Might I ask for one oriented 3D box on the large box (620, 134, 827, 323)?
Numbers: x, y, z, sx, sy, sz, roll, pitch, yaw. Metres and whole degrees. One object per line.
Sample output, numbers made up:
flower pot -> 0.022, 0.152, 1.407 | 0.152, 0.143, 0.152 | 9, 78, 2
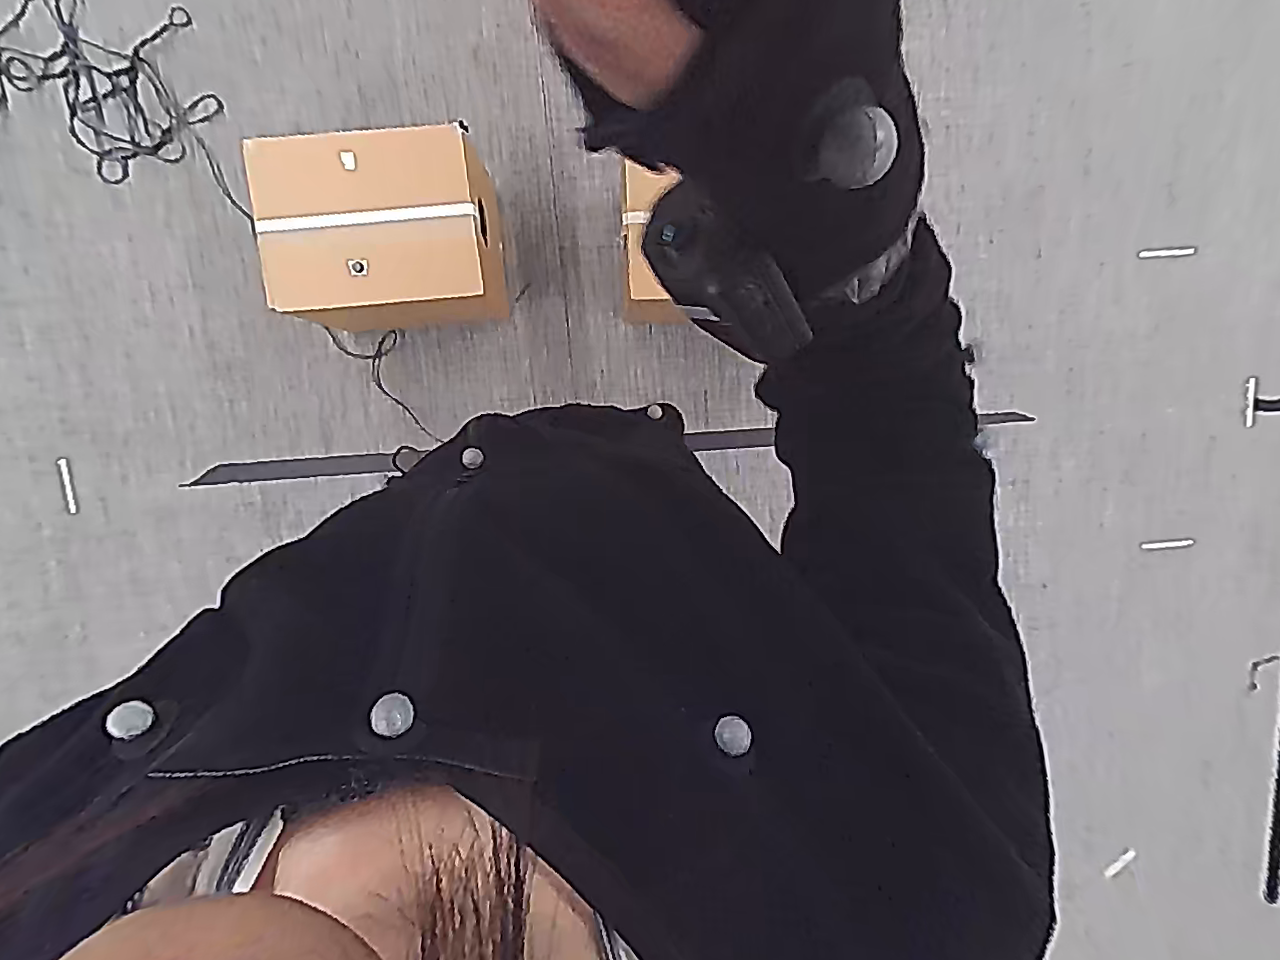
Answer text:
large box -> 0.166, -0.544, 1.225 | 0.408, 0.320, 0.320 | -2, 98, -4
